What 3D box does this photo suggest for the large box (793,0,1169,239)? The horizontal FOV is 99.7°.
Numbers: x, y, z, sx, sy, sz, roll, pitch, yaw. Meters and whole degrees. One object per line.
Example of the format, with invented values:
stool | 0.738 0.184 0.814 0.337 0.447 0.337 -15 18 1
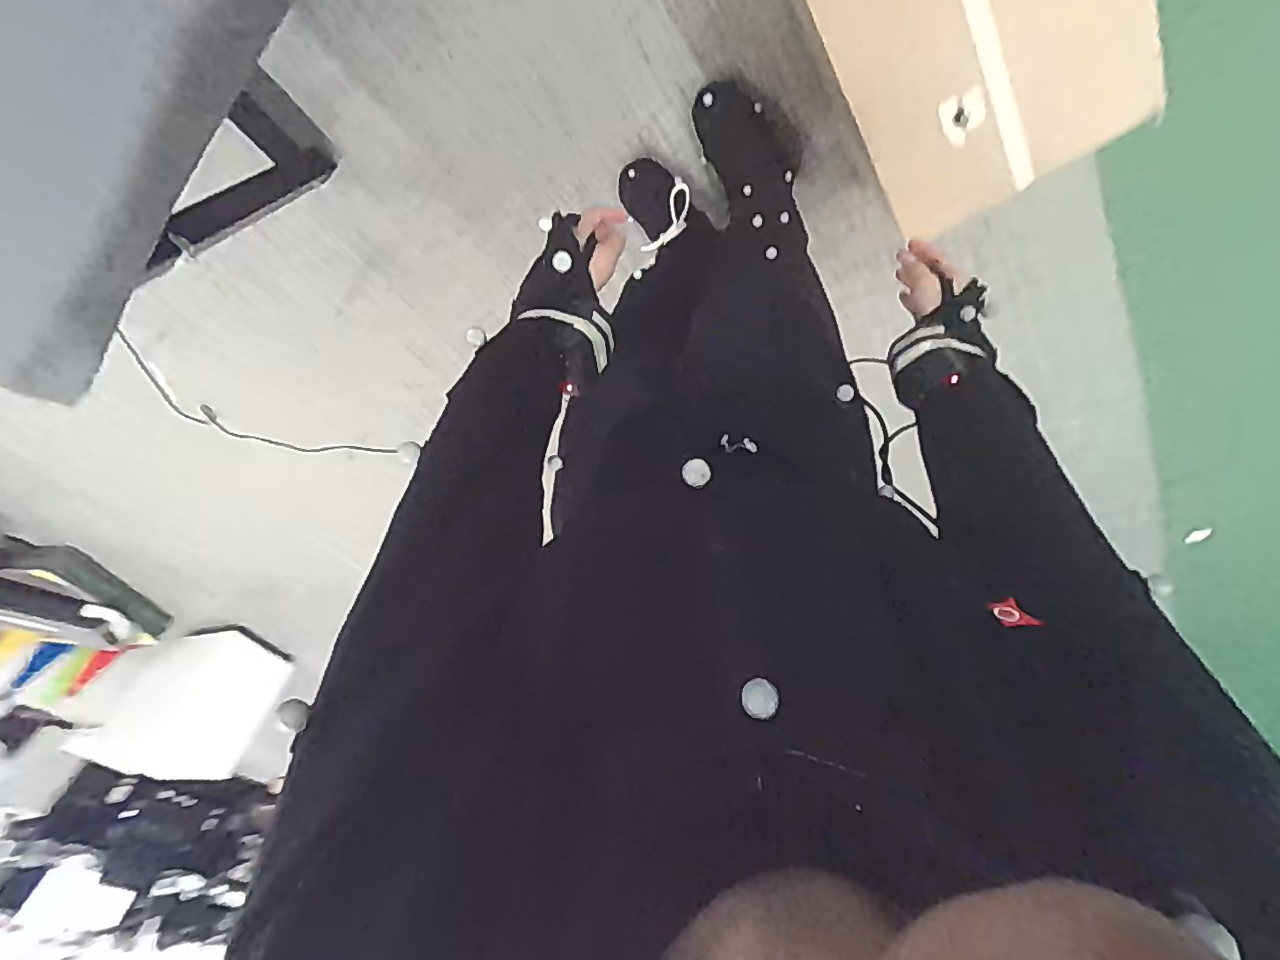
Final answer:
large box | 0.432 -0.643 0.753 0.320 0.320 0.408 -25 125 30
